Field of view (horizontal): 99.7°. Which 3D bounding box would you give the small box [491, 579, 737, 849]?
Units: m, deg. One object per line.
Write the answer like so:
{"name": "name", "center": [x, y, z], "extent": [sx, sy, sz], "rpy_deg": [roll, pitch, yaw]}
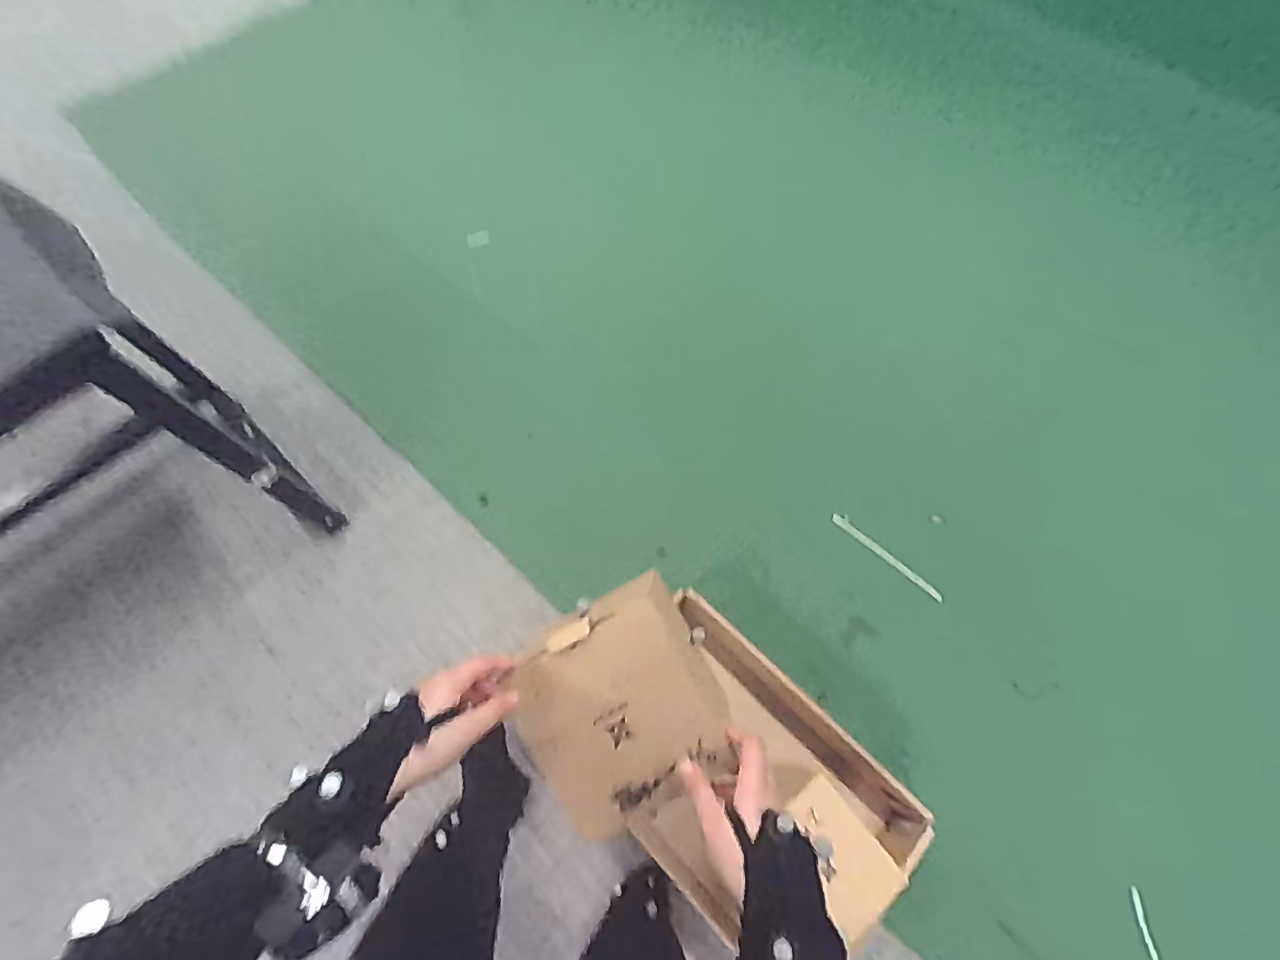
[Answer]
{"name": "small box", "center": [-0.022, 0.216, 0.558], "extent": [0.168, 0.176, 0.179], "rpy_deg": [-29, 89, 3]}

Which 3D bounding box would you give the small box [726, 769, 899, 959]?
{"name": "small box", "center": [0.258, 0.586, 0.852], "extent": [0.168, 0.176, 0.179], "rpy_deg": [-35, 69, -15]}
